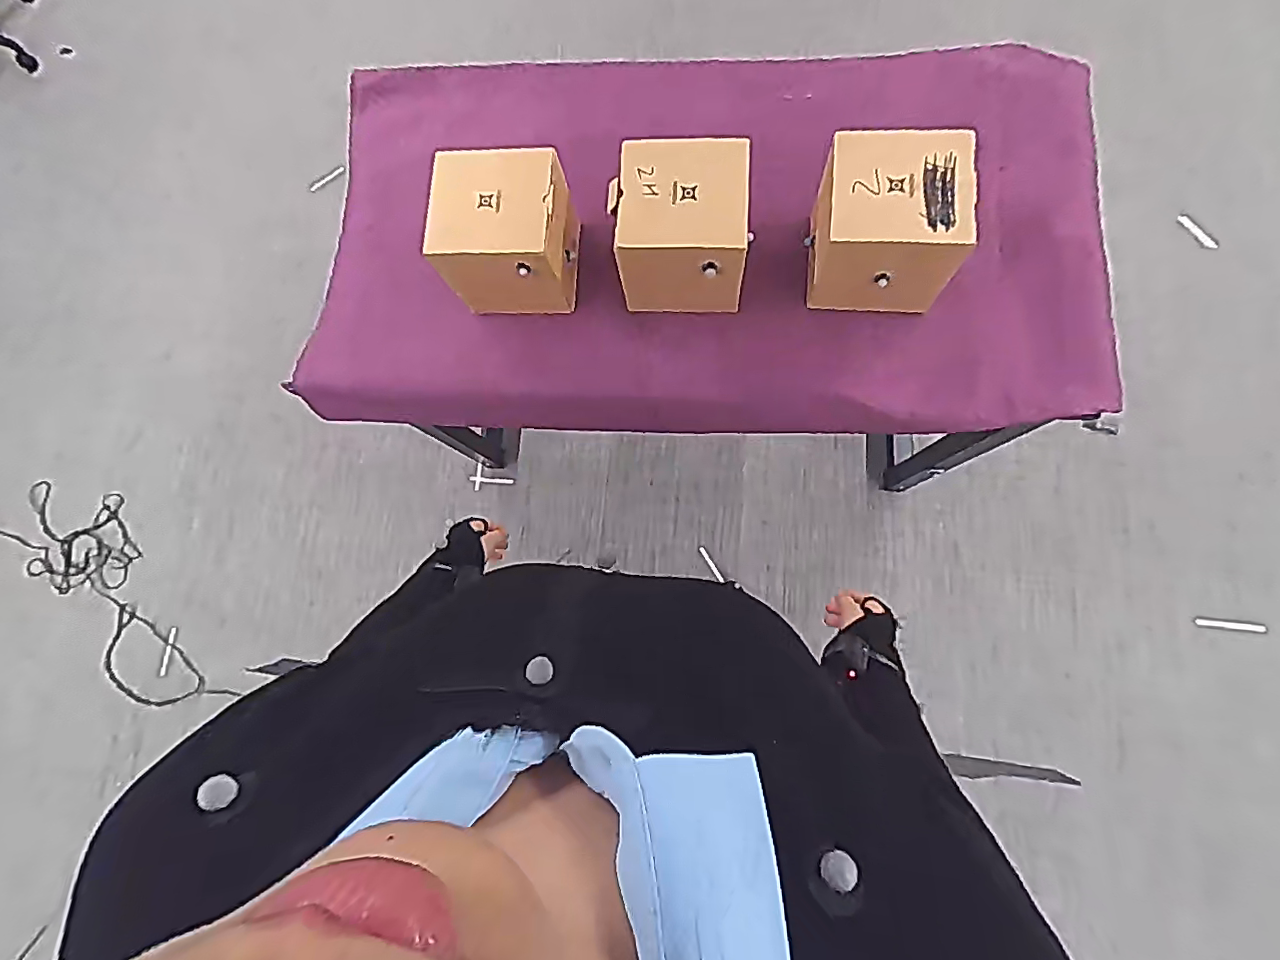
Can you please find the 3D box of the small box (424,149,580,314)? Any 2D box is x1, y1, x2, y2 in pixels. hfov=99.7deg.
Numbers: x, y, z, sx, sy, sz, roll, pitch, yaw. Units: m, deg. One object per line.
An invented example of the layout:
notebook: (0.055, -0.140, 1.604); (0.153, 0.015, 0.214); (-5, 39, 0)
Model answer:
small box: (-0.199, -0.367, 0.824); (0.179, 0.176, 0.168); (1, 79, 5)

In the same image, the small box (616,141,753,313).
small box: (0.066, -0.361, 0.794); (0.179, 0.176, 0.168); (2, 78, 7)
